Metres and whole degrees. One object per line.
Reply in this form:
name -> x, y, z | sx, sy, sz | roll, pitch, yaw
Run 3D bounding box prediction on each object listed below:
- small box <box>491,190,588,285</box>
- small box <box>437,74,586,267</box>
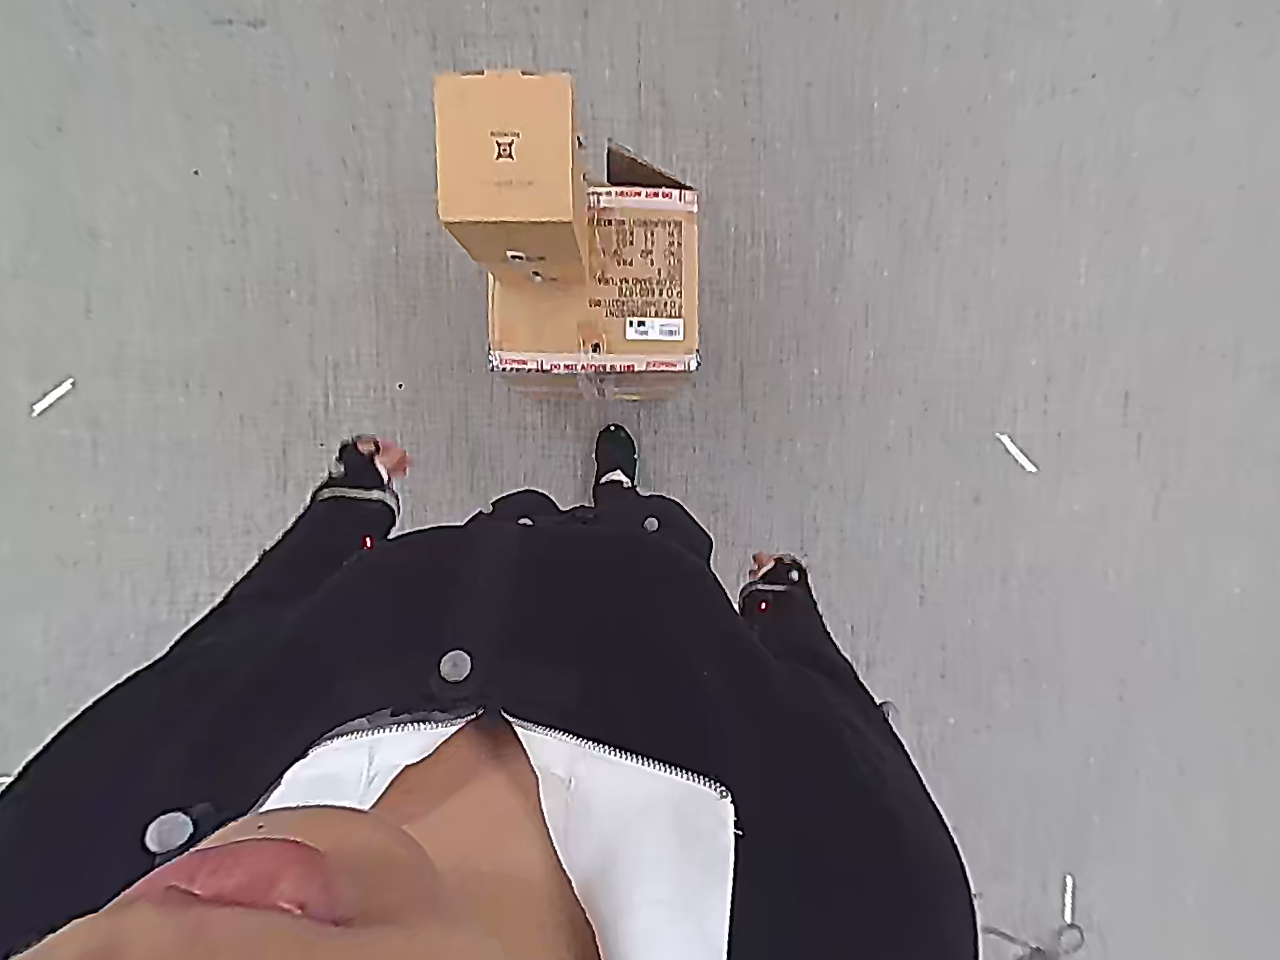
small box -> -0.175, -0.437, 0.894 | 0.168, 0.176, 0.179 | 0, 94, -1
small box -> -0.164, -0.405, 0.733 | 0.168, 0.176, 0.179 | -1, 95, -1
